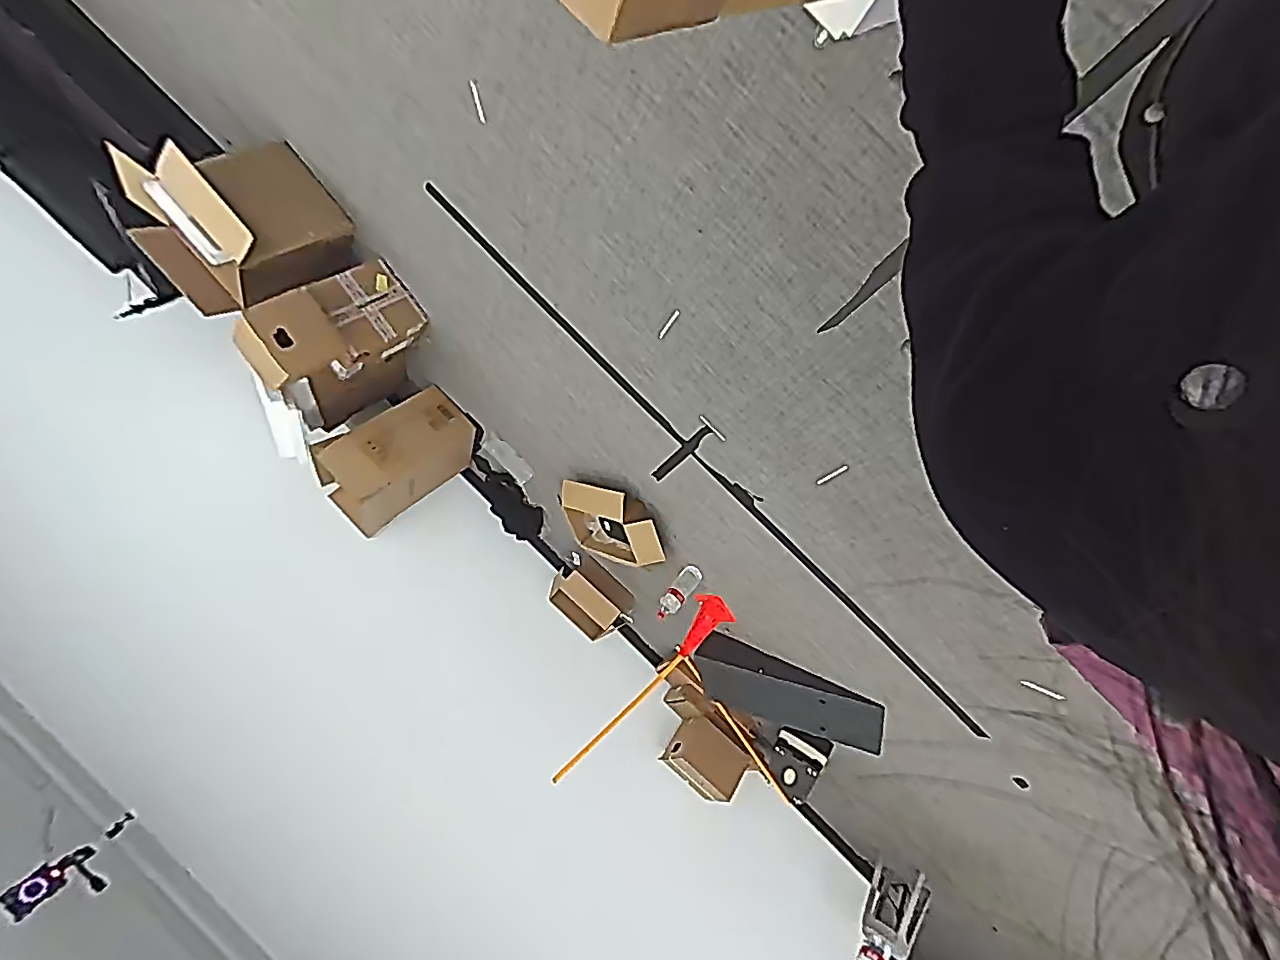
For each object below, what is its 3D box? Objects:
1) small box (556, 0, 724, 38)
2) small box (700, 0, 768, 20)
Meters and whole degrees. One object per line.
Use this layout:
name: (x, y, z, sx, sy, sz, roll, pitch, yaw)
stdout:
small box: (-0.008, -0.463, 0.377, 0.179, 0.176, 0.168, 45, 148, 0)
small box: (0.089, -0.556, 0.467, 0.179, 0.176, 0.168, 45, 147, 1)
